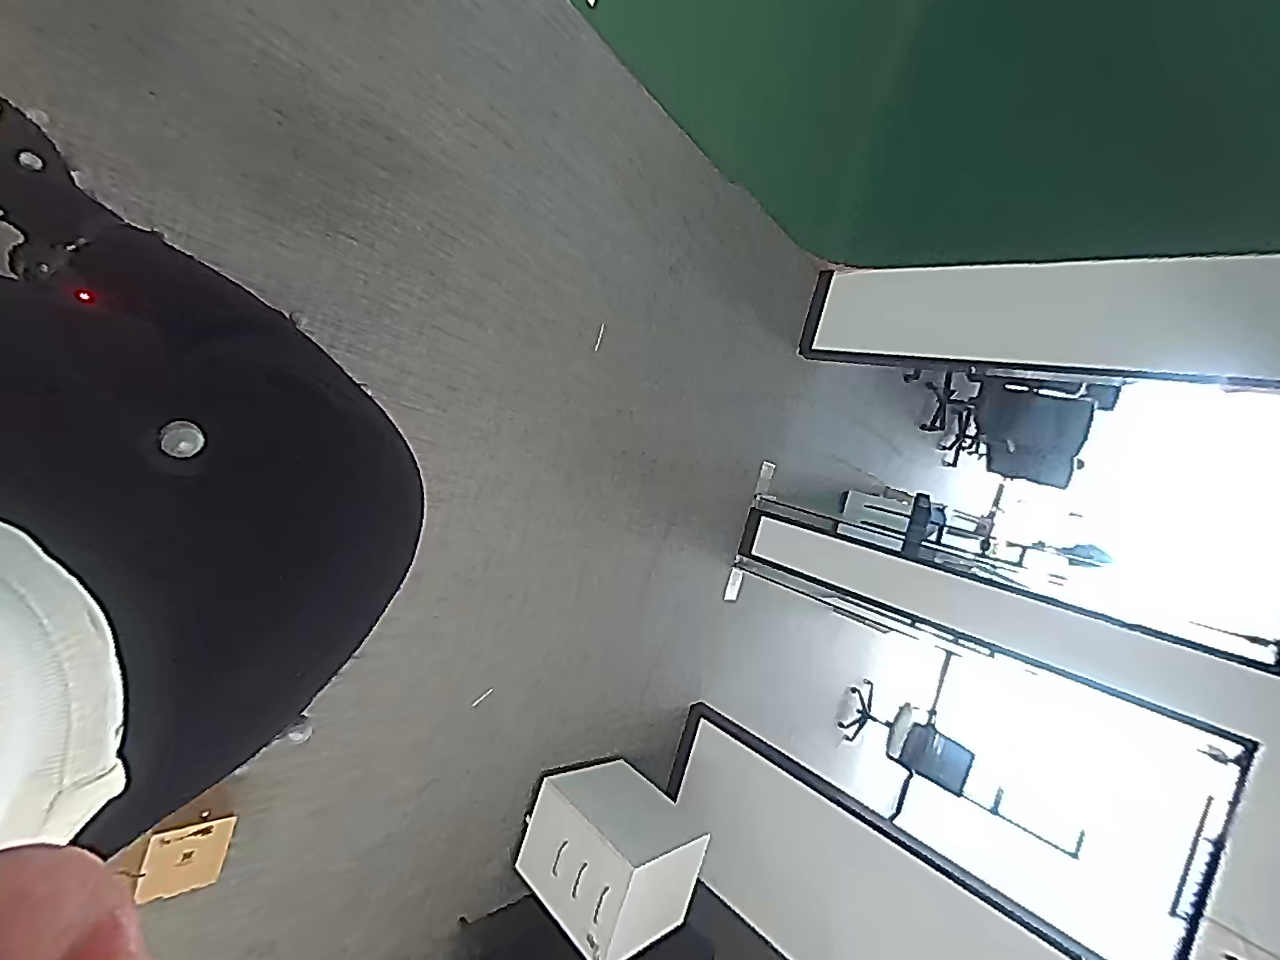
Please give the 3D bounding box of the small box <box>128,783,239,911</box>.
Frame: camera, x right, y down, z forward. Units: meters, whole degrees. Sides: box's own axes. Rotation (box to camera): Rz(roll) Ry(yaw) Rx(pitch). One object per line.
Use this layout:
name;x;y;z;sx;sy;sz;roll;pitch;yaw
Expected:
small box;-1.122;0.887;1.326;0.168;0.176;0.179;18;90;-49
